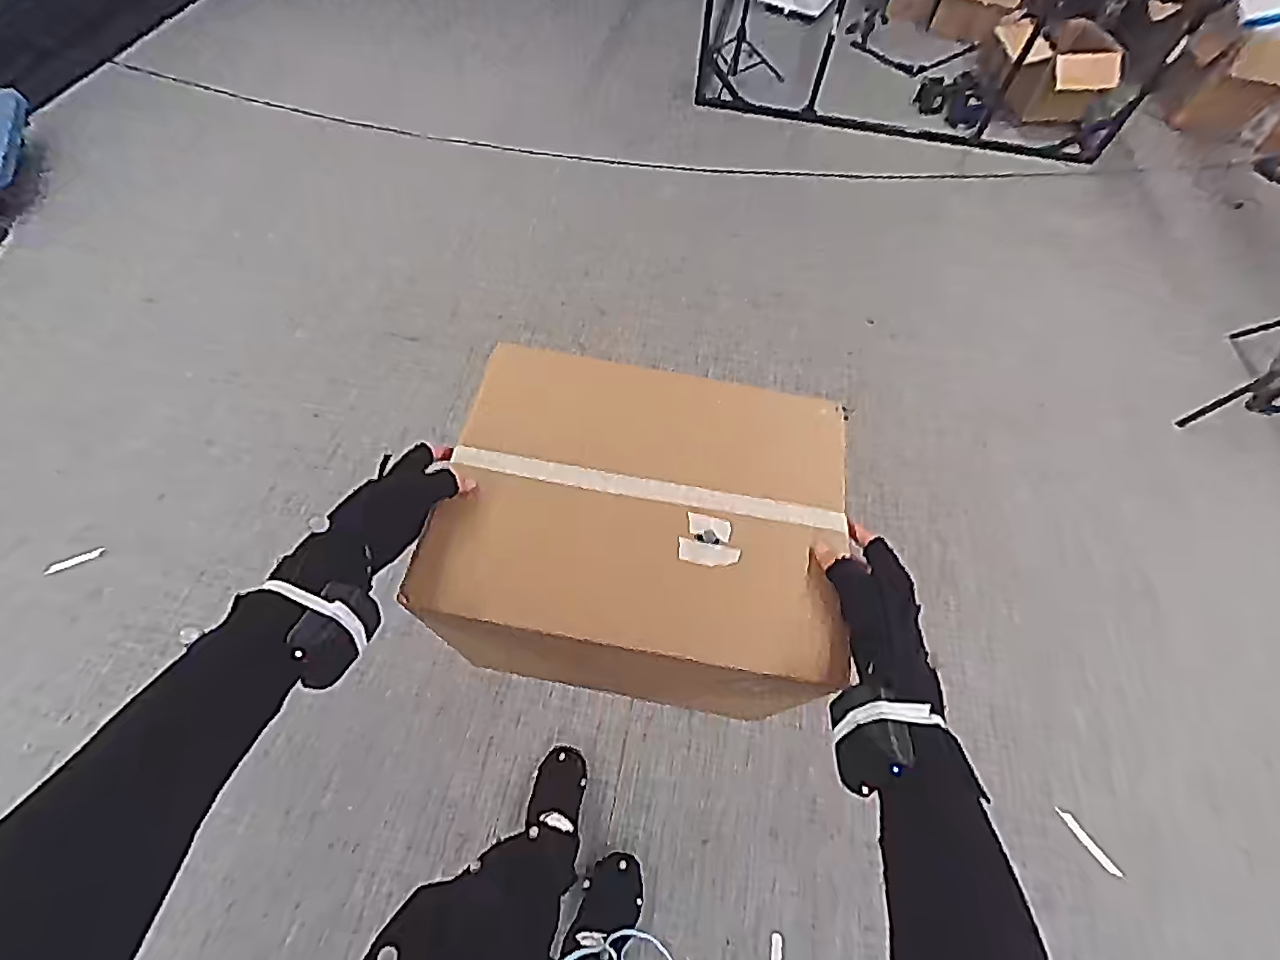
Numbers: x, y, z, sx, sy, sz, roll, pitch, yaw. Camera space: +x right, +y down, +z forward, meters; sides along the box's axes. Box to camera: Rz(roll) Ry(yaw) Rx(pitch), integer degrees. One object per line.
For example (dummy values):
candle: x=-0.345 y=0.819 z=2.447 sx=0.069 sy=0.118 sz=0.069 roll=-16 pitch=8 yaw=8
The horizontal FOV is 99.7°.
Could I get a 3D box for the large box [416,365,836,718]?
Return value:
large box: x=-0.005 y=0.096 z=0.699 sx=0.408 sy=0.320 sz=0.320 roll=11 pitch=61 yaw=1
